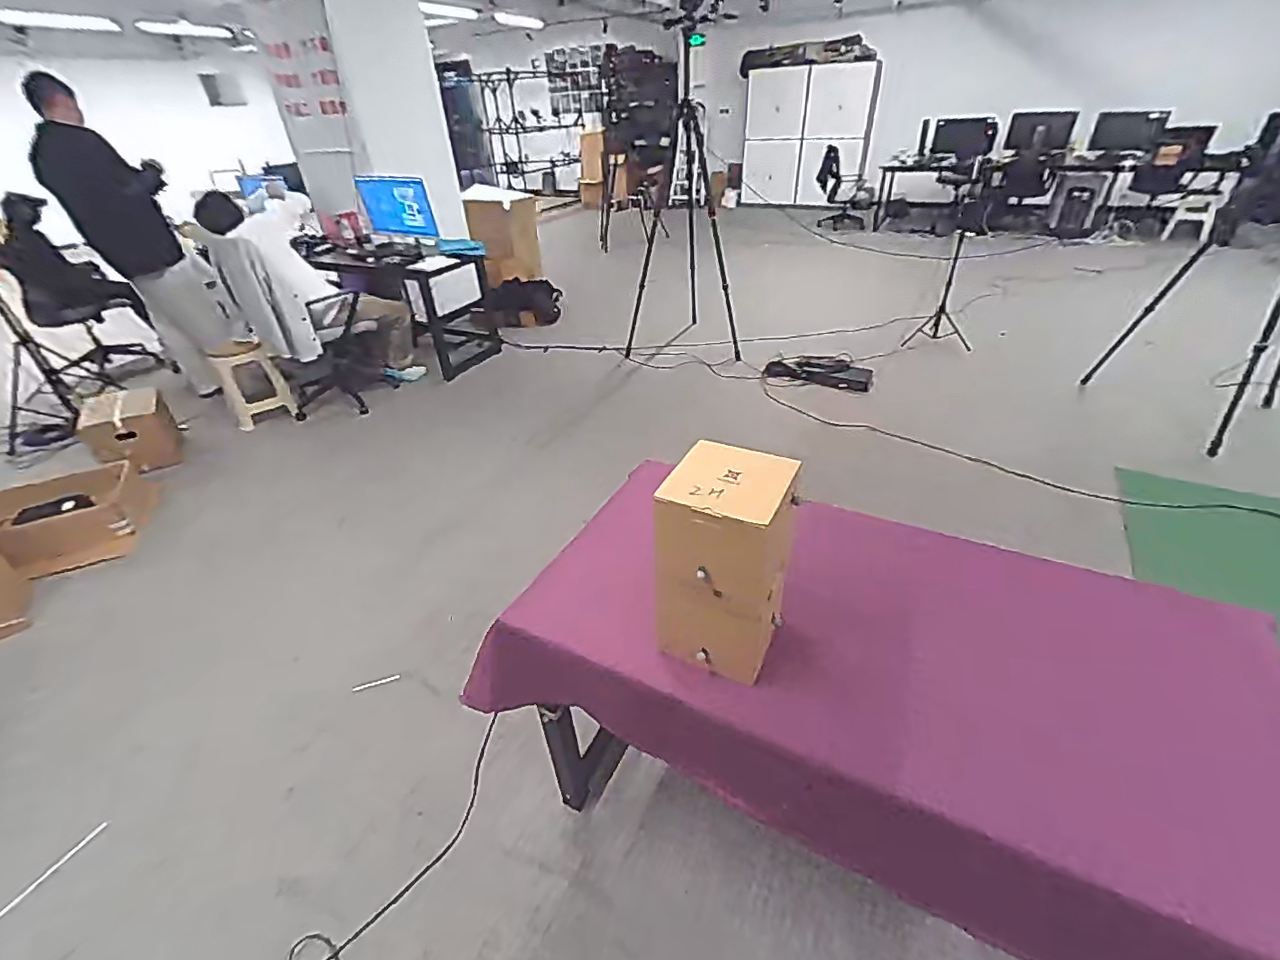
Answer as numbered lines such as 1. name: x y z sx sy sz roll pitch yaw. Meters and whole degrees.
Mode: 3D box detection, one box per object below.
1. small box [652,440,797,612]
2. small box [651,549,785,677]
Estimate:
1. small box: 0.128 0.066 0.830 0.168 0.176 0.179 15 39 24
2. small box: 0.132 0.204 0.921 0.179 0.176 0.168 15 38 22
